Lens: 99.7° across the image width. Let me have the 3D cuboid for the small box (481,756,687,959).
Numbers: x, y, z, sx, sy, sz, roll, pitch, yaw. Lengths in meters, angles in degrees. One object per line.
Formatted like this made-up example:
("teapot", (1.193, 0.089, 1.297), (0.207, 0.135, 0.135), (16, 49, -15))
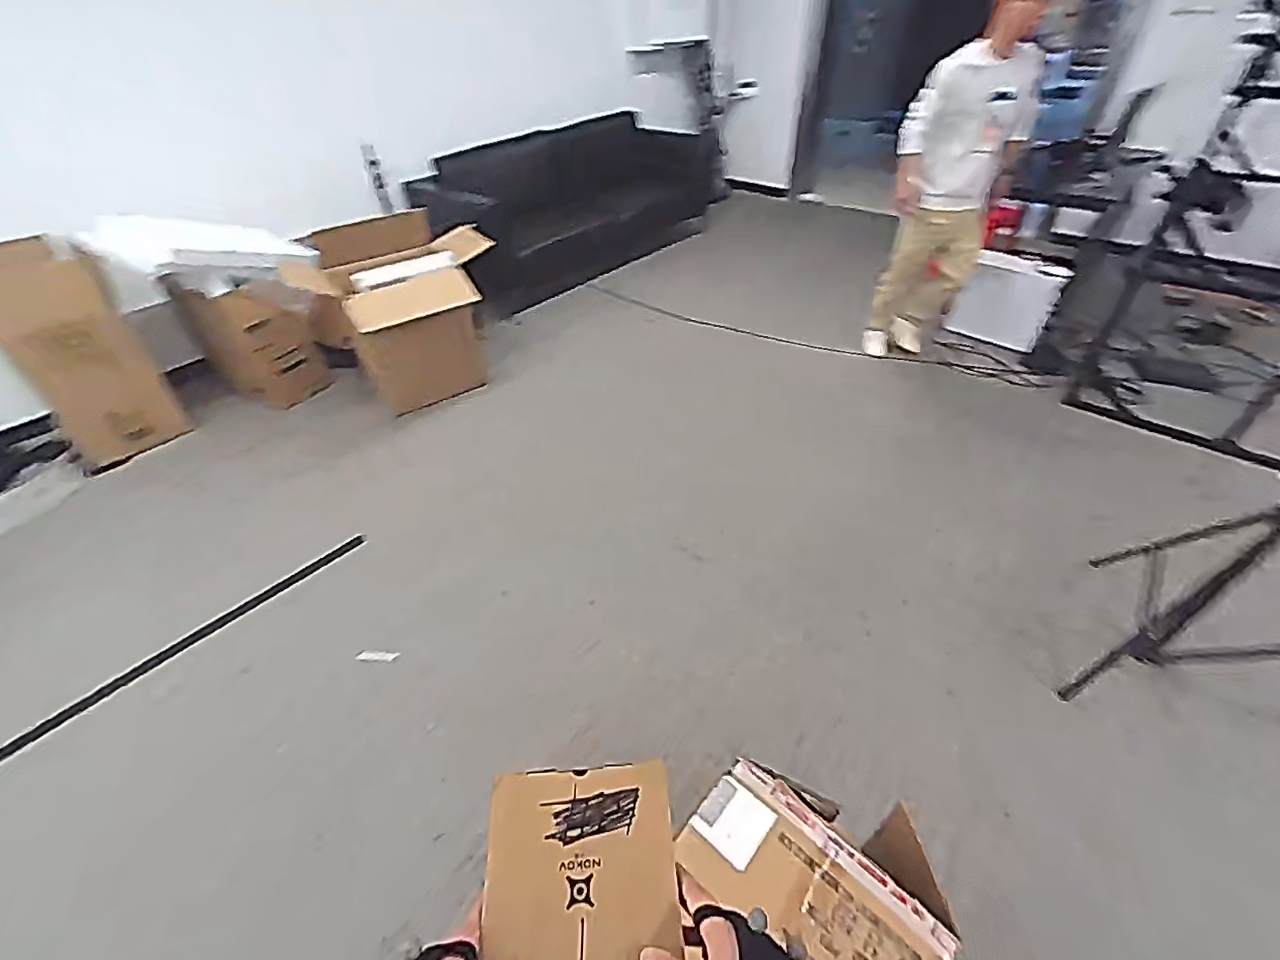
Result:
("small box", (-0.050, 0.393, 0.524), (0.168, 0.176, 0.179), (-5, 48, -4))
